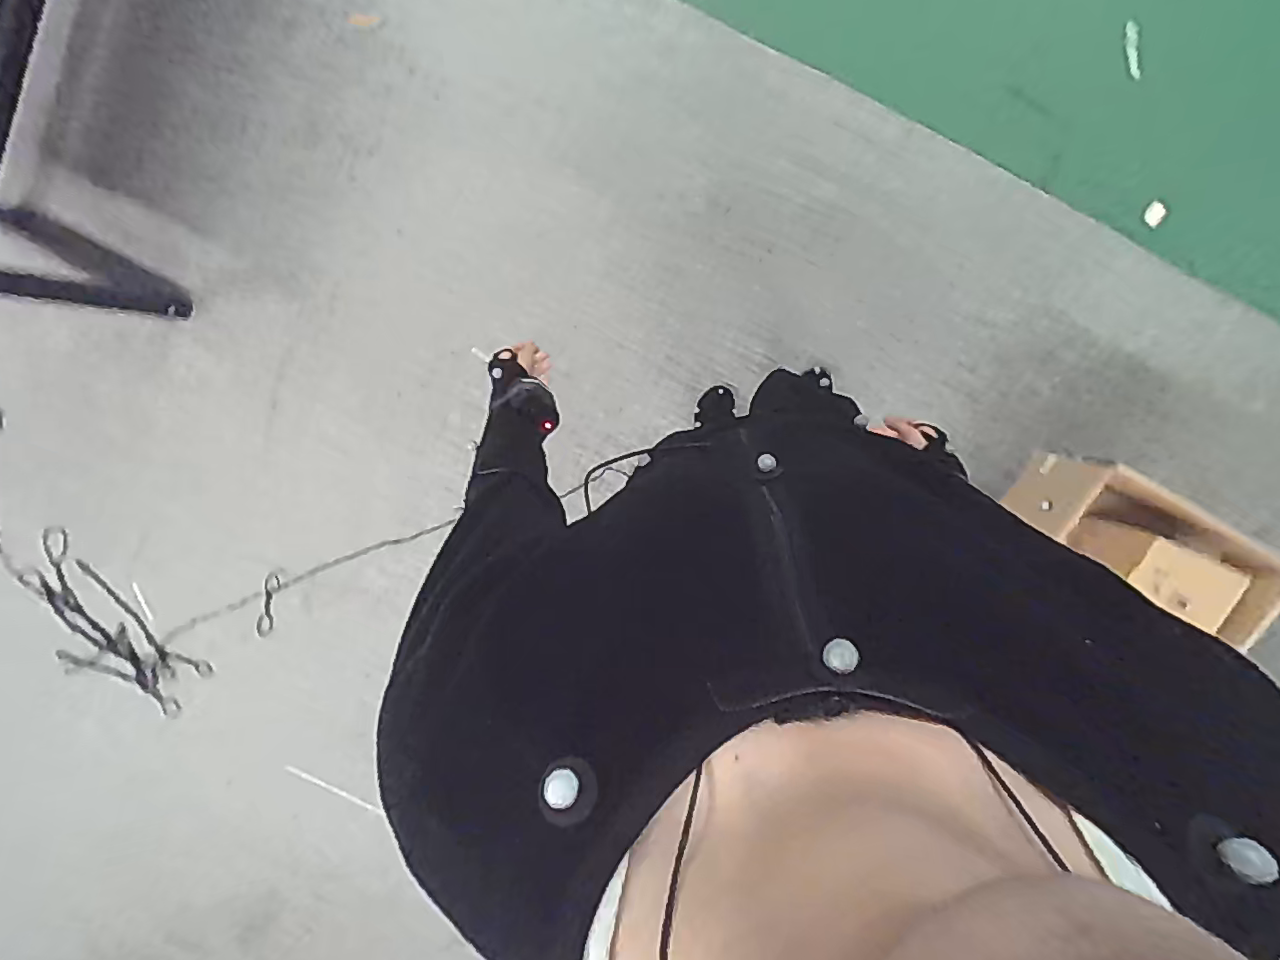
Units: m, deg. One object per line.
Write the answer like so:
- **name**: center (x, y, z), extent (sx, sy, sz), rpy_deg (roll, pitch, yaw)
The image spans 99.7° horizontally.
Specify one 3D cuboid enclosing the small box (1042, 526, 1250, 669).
- **small box**: center (0.895, 0.200, 0.978), extent (0.179, 0.176, 0.168), rpy_deg (25, 99, -1)
